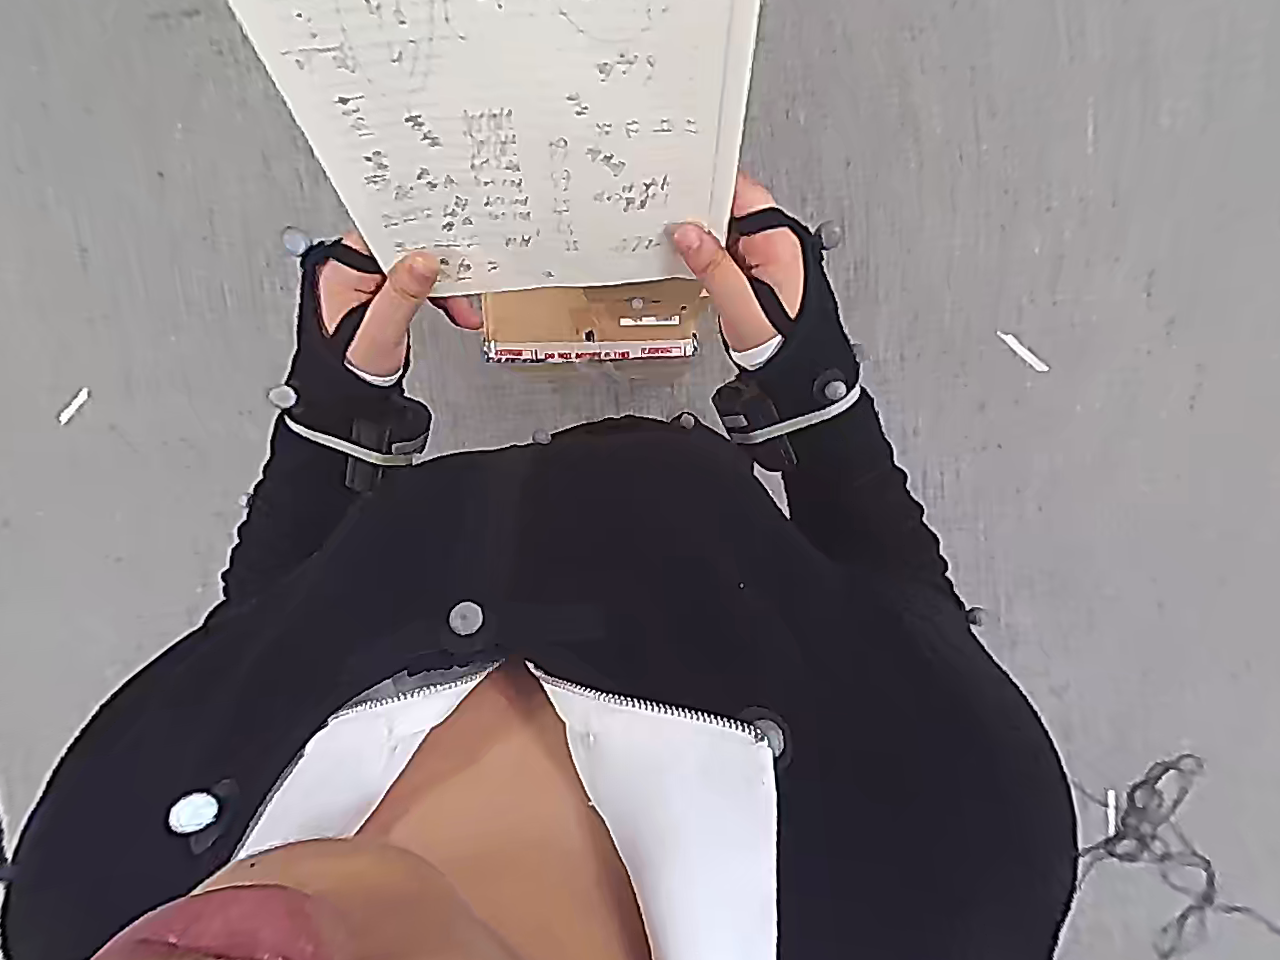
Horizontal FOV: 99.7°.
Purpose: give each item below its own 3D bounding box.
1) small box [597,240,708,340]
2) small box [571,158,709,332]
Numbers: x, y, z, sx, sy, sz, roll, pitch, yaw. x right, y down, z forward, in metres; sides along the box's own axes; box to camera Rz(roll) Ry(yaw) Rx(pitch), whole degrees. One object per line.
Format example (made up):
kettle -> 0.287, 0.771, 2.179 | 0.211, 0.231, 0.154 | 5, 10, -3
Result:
small box -> 0.013, -0.329, 0.900 | 0.179, 0.176, 0.168 | -3, 97, 0
small box -> -0.004, -0.306, 0.737 | 0.168, 0.176, 0.179 | 1, 98, -1
